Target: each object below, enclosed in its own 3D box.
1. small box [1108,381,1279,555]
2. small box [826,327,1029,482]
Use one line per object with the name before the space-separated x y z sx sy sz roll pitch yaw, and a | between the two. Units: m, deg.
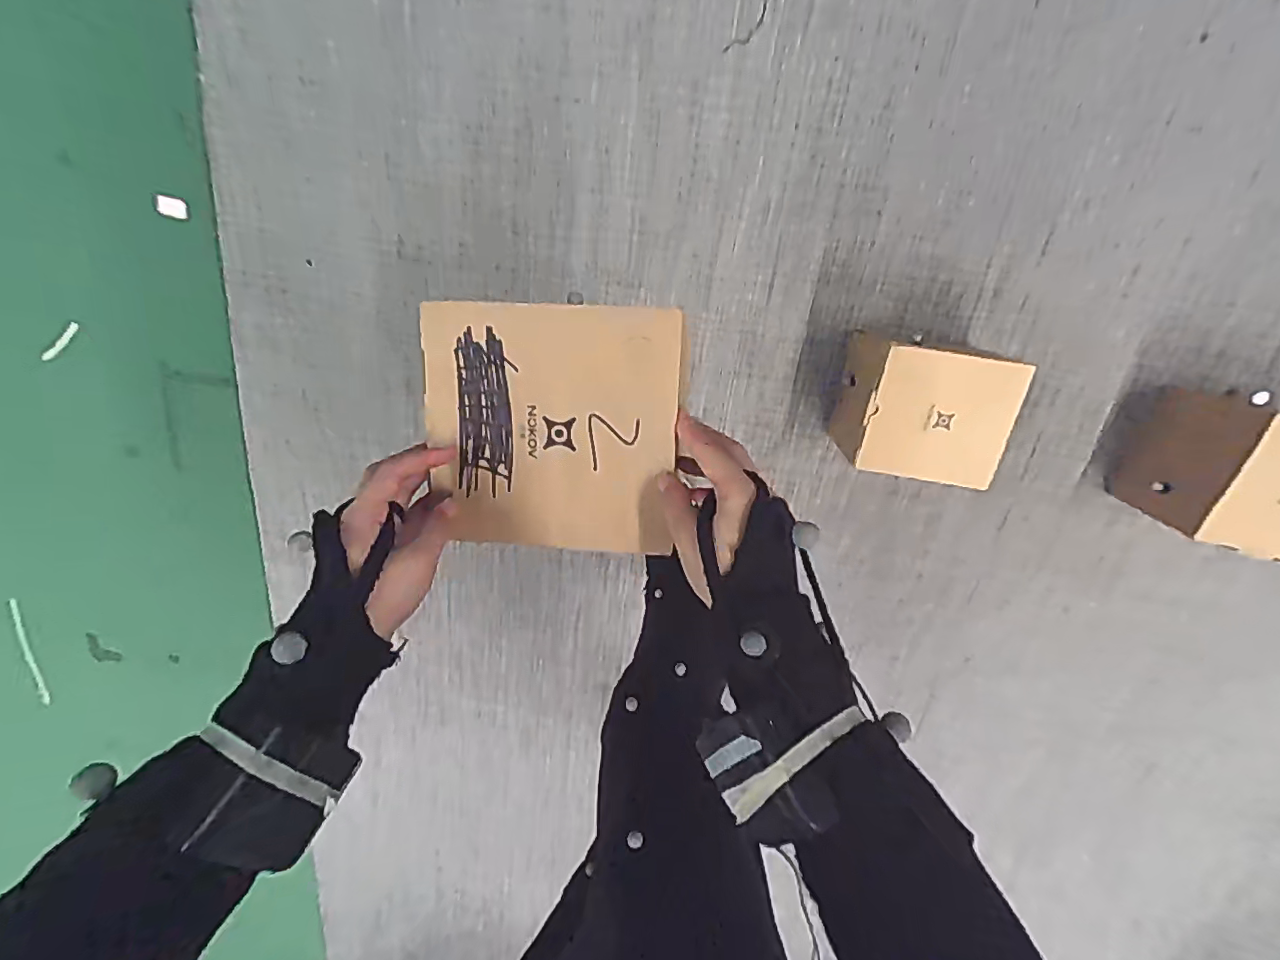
small box | 0.801 -0.021 0.736 0.168 0.176 0.179 13 111 1
small box | 0.380 -0.114 0.754 0.179 0.176 0.168 10 112 4
